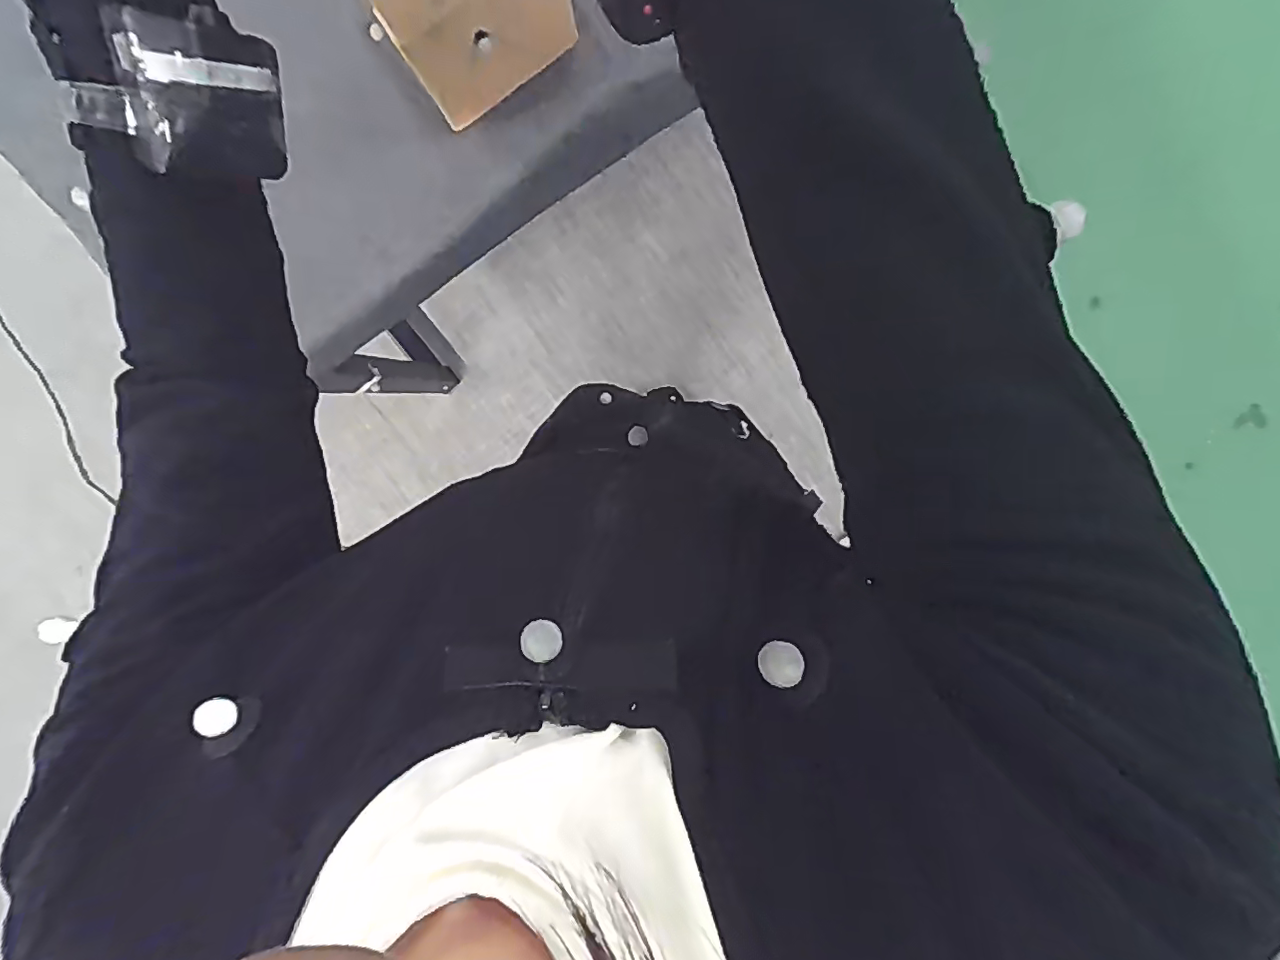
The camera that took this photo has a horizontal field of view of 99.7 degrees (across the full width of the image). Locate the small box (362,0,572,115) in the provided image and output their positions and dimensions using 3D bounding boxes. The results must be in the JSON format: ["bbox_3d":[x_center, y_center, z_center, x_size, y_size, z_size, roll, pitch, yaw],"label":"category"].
[{"bbox_3d":[-0.189,-0.512,0.530,0.179,0.176,0.168,-33,97,7],"label":"small box"}]

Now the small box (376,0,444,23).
[{"bbox_3d":[-0.191,-0.485,0.368,0.168,0.176,0.179,-36,95,6],"label":"small box"}]
